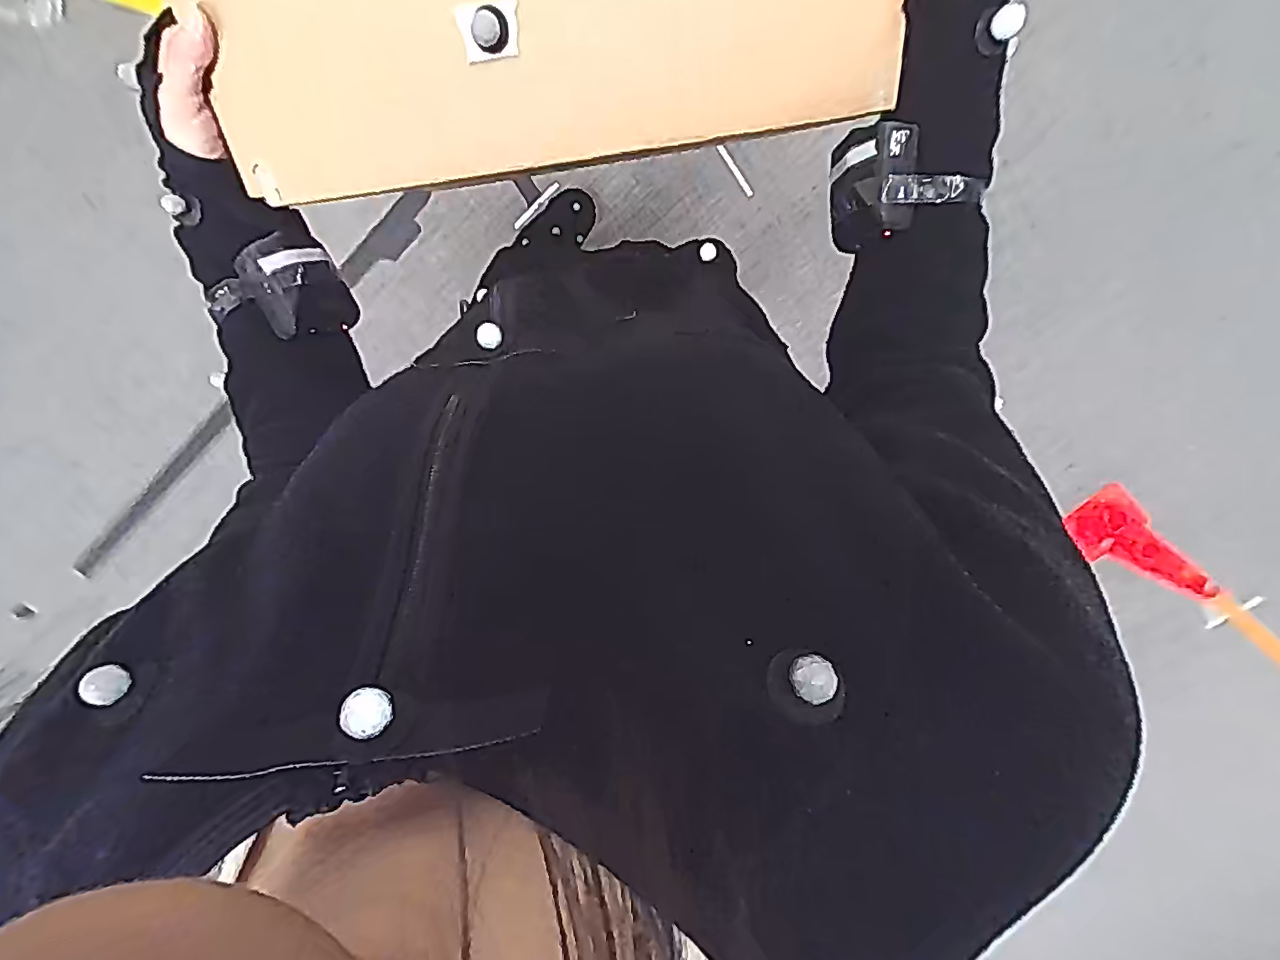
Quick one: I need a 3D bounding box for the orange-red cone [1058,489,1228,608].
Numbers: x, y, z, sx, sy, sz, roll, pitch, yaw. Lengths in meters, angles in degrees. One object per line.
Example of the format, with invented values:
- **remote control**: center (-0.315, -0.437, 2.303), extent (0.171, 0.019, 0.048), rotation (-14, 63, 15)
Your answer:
- **orange-red cone**: center (1.335, 0.206, 1.404), extent (0.198, 0.360, 0.199), rotation (39, 108, -17)
